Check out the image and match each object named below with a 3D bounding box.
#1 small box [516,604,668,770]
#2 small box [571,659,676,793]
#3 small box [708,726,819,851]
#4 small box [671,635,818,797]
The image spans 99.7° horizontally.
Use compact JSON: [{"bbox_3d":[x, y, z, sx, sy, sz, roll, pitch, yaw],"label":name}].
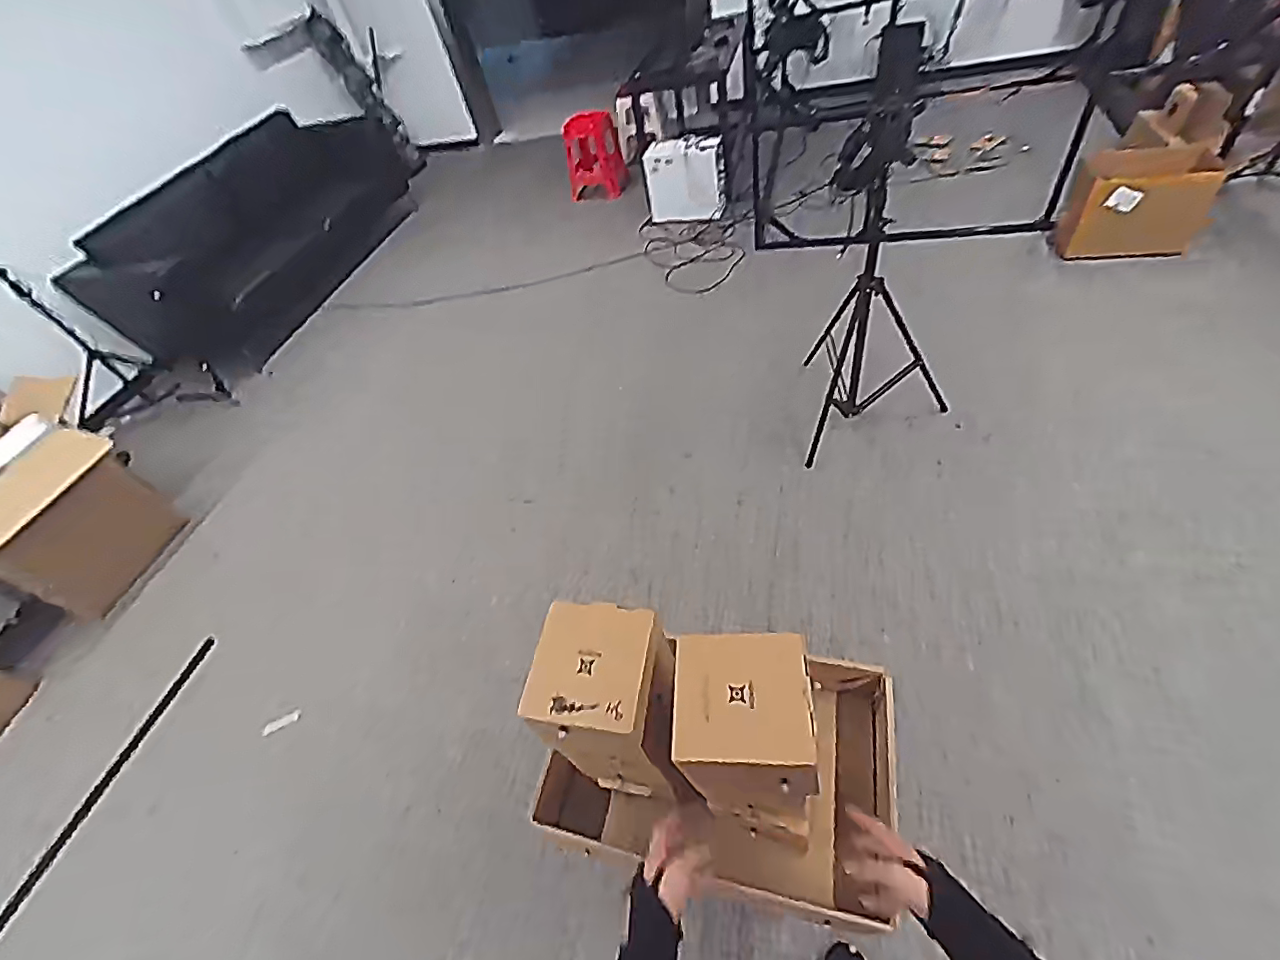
[{"bbox_3d":[-0.059,0.310,0.815,0.168,0.176,0.179,1,49,17],"label":"small box"},{"bbox_3d":[-0.020,0.417,0.937,0.168,0.176,0.179,2,51,16],"label":"small box"},{"bbox_3d":[0.232,0.542,0.984,0.168,0.176,0.179,3,52,22],"label":"small box"},{"bbox_3d":[0.149,0.328,0.751,0.179,0.176,0.168,-6,48,15],"label":"small box"}]
